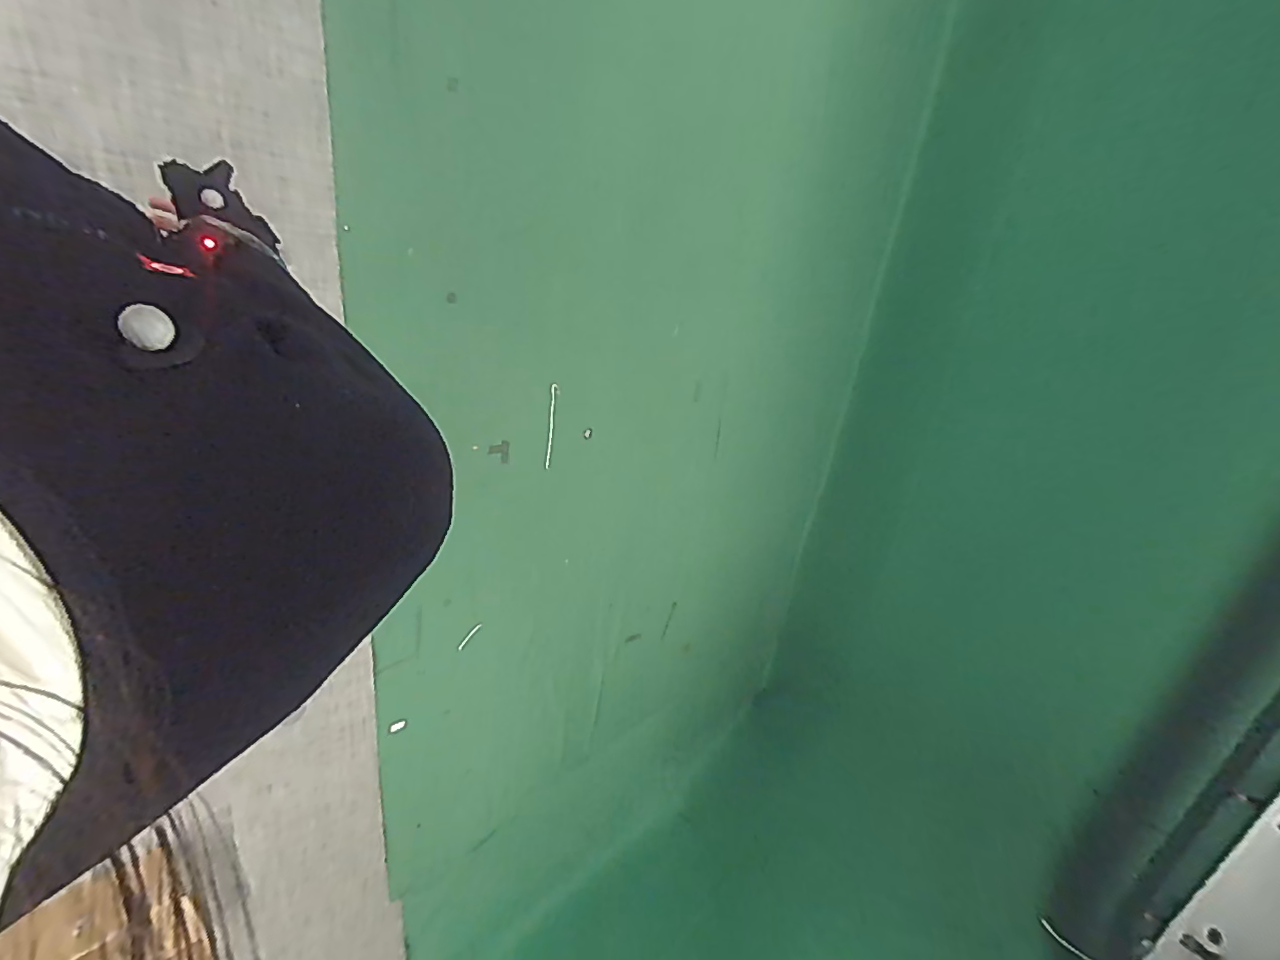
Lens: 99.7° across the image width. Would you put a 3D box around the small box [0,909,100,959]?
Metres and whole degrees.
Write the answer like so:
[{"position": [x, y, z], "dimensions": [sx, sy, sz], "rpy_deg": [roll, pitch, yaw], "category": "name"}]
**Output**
[{"position": [-1.411, 1.185, 1.275], "dimensions": [0.179, 0.176, 0.168], "rpy_deg": [-19, 126, -44], "category": "small box"}]
